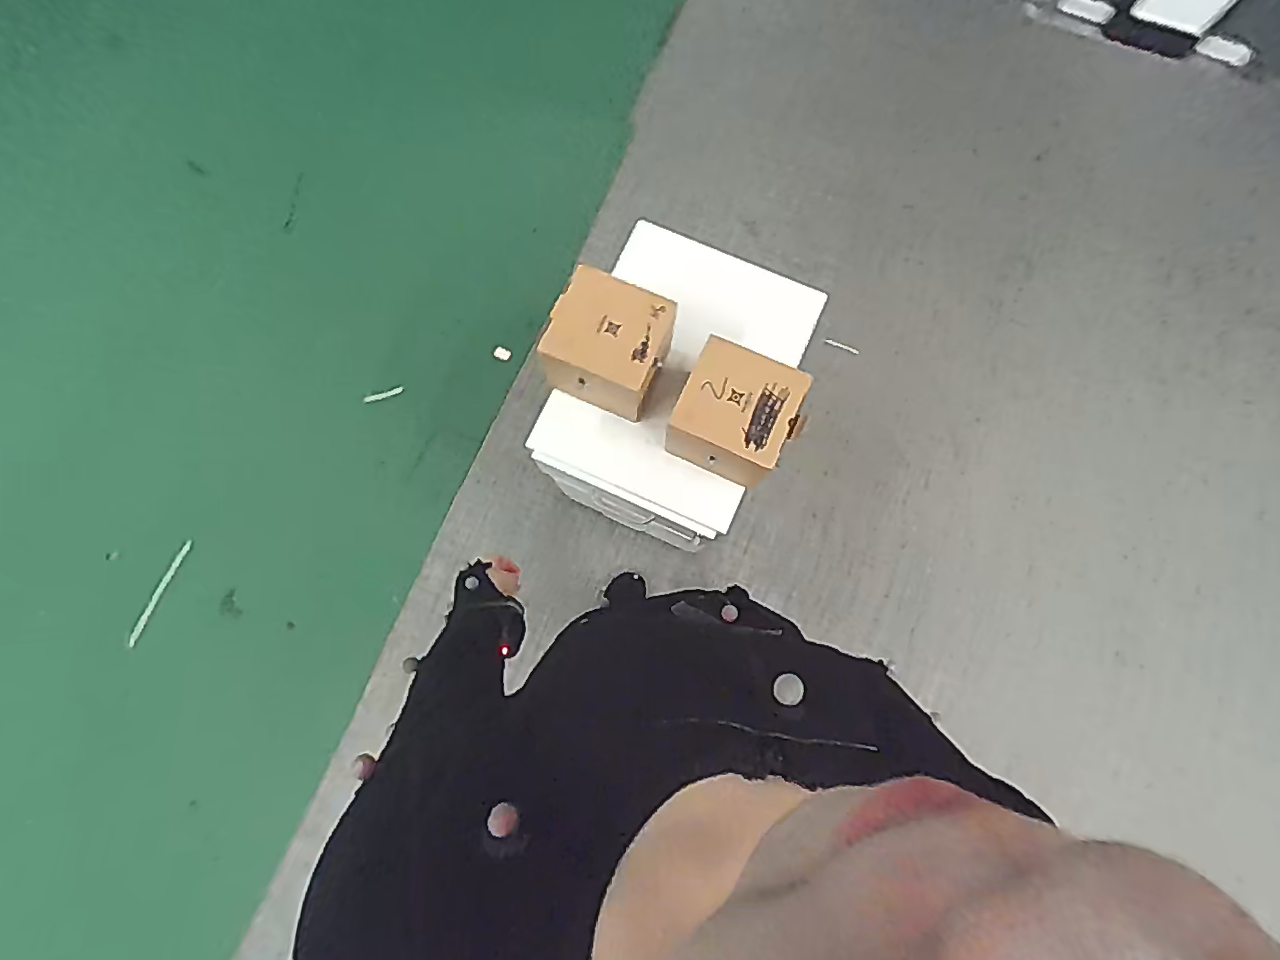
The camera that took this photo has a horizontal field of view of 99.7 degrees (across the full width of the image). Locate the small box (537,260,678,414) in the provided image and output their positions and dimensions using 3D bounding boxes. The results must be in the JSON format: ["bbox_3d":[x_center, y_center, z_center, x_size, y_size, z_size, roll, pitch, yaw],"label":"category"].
[{"bbox_3d":[-0.051,-0.232,0.923,0.179,0.176,0.168,24,79,4],"label":"small box"}]
